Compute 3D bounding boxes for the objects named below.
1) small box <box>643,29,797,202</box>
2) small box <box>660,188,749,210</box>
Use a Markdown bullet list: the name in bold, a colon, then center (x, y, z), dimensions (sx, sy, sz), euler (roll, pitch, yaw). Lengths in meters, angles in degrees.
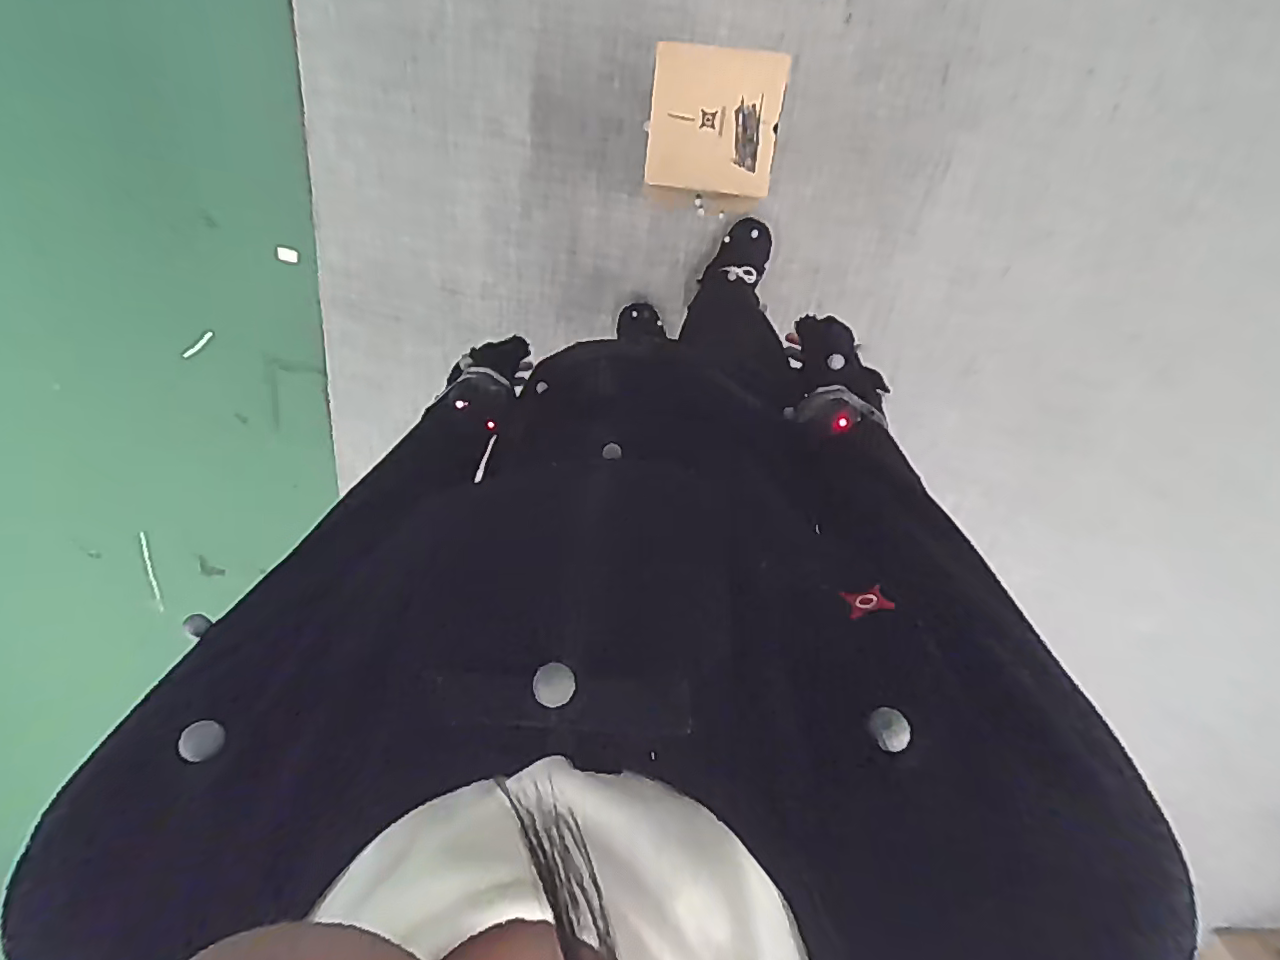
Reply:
- **small box**: center (0.108, -0.516, 0.792), dimensions (0.179, 0.176, 0.168), euler (10, 112, 0)
- **small box**: center (0.142, -0.649, 1.093), dimensions (0.179, 0.176, 0.168), euler (8, 114, 4)
